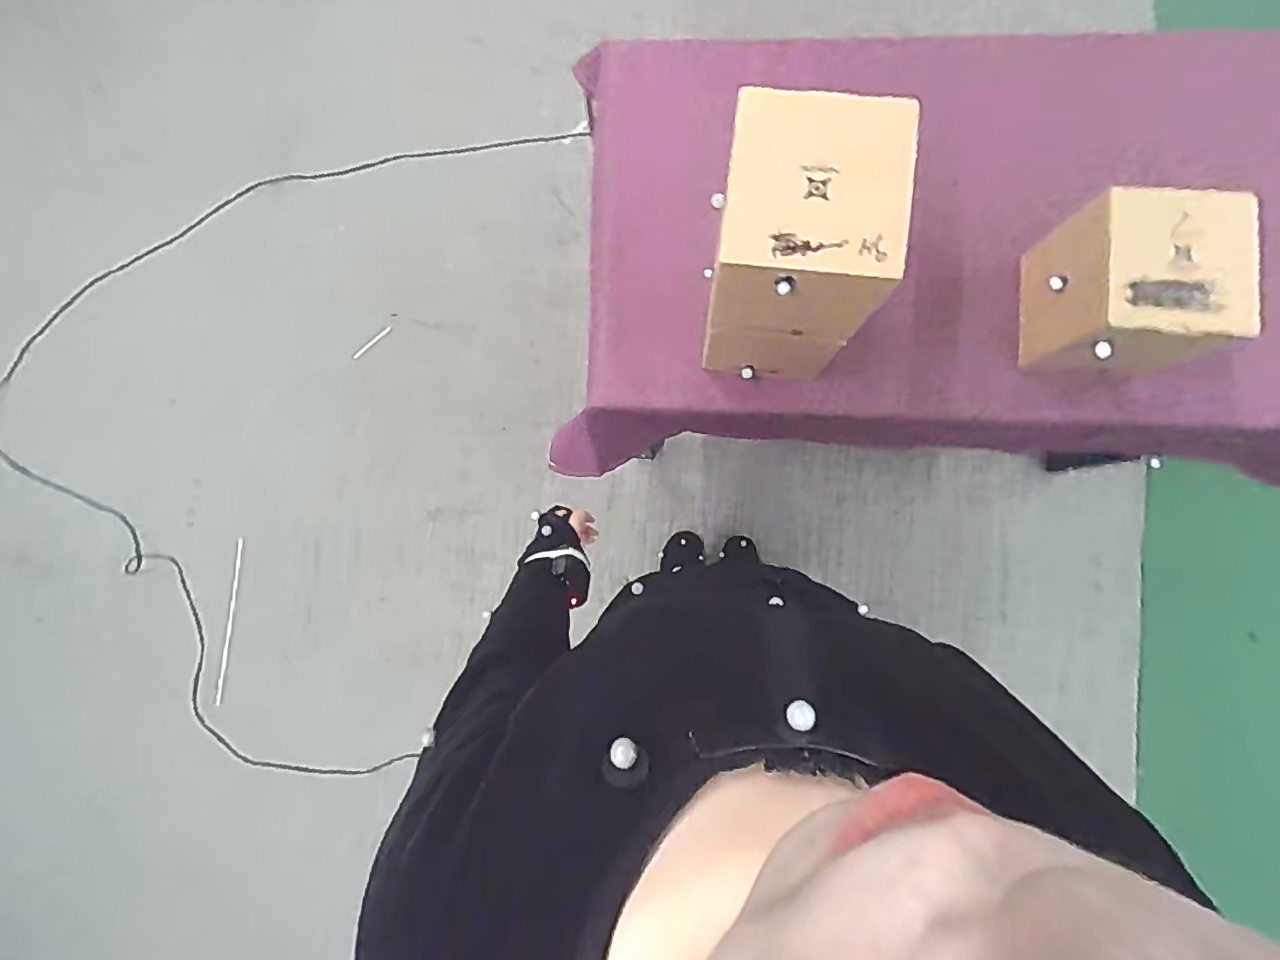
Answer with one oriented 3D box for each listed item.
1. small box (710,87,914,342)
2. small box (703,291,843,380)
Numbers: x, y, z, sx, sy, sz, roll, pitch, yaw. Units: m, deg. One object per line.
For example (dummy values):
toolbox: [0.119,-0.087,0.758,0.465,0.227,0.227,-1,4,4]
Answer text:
small box: [0.167,-0.267,0.574,0.168,0.176,0.179,7,84,6]
small box: [0.179,-0.252,0.738,0.168,0.176,0.179,8,86,5]
